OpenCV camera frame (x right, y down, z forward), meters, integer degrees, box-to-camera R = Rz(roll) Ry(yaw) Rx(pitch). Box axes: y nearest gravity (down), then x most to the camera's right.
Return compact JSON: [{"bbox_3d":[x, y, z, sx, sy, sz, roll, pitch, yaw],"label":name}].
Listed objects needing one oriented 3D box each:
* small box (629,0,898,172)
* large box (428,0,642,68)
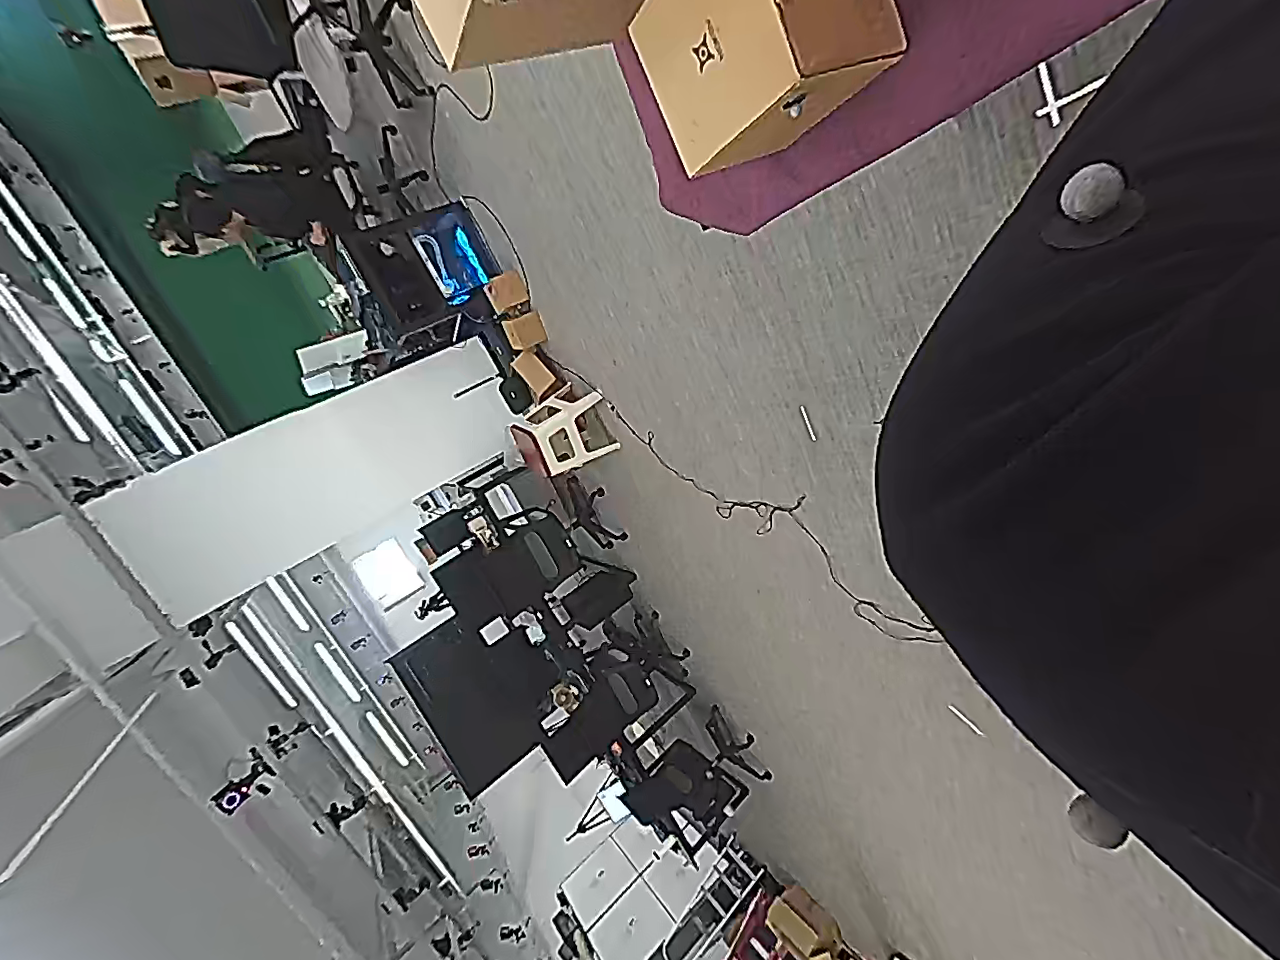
[{"bbox_3d":[0.124,-0.459,0.559,0.179,0.176,0.168,-4,115,61],"label":"small box"},{"bbox_3d":[-0.106,-0.713,0.499,0.320,0.320,0.408,-2,120,60],"label":"large box"}]
